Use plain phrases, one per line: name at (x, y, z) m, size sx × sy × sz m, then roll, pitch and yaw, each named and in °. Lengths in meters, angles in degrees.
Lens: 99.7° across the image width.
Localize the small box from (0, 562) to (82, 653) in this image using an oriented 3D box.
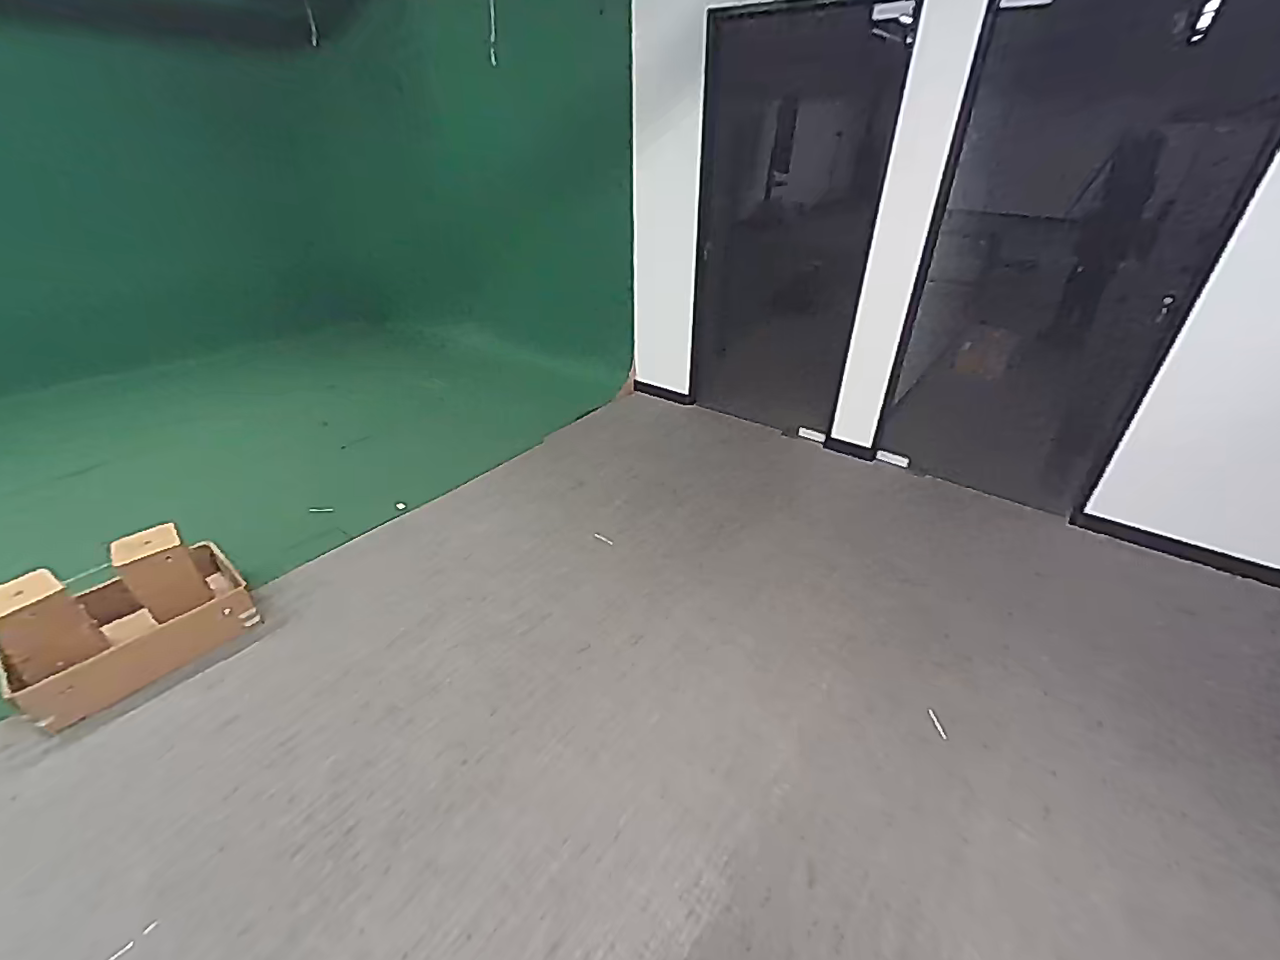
small box at (-1.864, 0.385, 1.630) m, size 0.168 × 0.176 × 0.179 m, roll 20°, pitch 35°, yaw 24°

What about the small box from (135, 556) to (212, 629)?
small box at (-1.671, 0.395, 1.928) m, size 0.168 × 0.176 × 0.179 m, roll -27°, pitch 44°, yaw -35°

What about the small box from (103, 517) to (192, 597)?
small box at (-1.663, 0.259, 1.835) m, size 0.179 × 0.176 × 0.168 m, roll -27°, pitch 42°, yaw -35°
